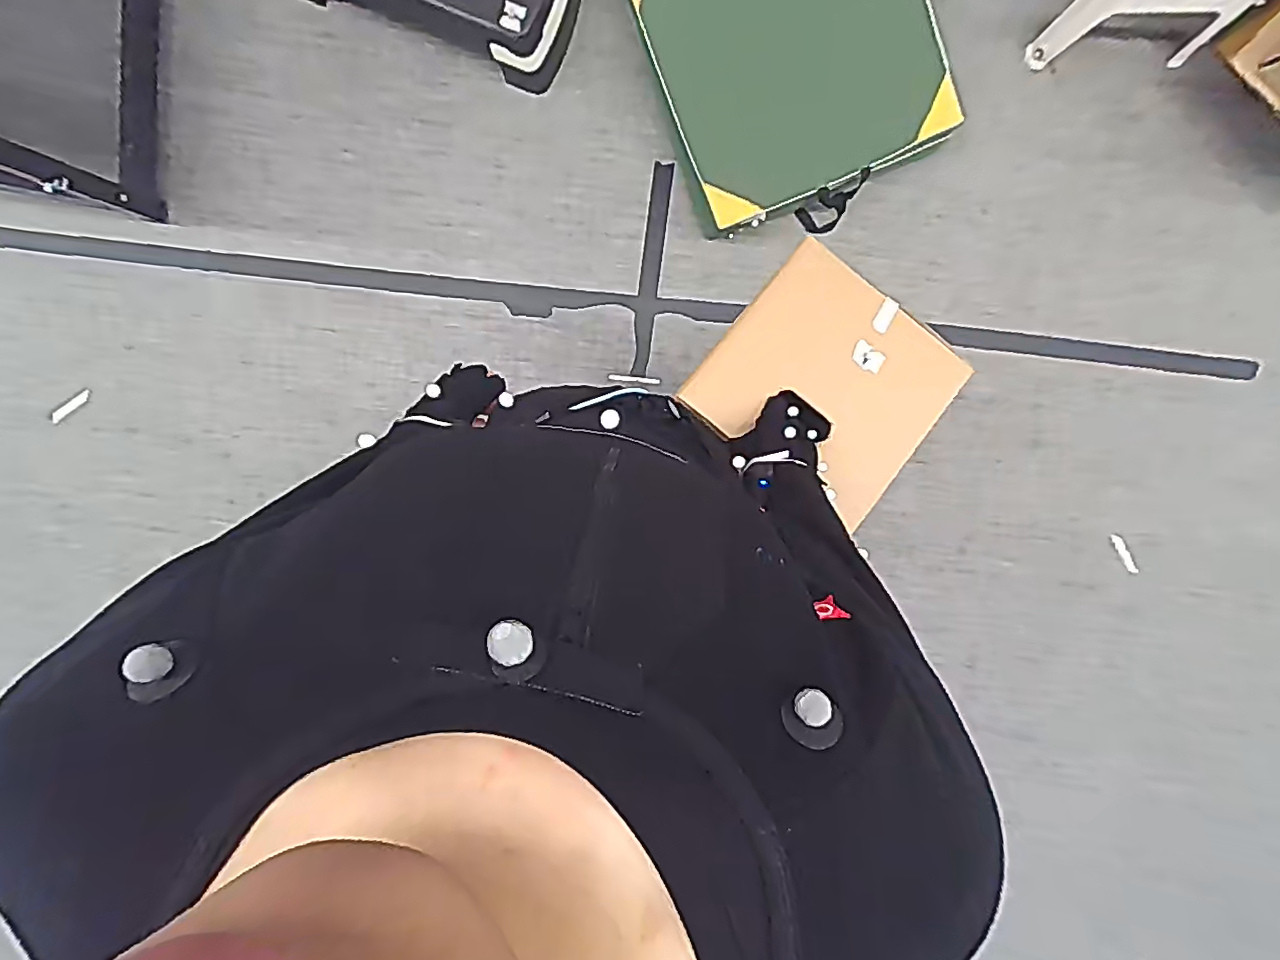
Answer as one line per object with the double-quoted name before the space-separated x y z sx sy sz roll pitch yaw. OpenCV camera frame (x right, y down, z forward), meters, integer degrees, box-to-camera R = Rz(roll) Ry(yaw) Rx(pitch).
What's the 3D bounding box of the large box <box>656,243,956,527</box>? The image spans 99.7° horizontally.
"large box" 0.252 -0.131 0.971 0.320 0.408 0.320 41 86 0
